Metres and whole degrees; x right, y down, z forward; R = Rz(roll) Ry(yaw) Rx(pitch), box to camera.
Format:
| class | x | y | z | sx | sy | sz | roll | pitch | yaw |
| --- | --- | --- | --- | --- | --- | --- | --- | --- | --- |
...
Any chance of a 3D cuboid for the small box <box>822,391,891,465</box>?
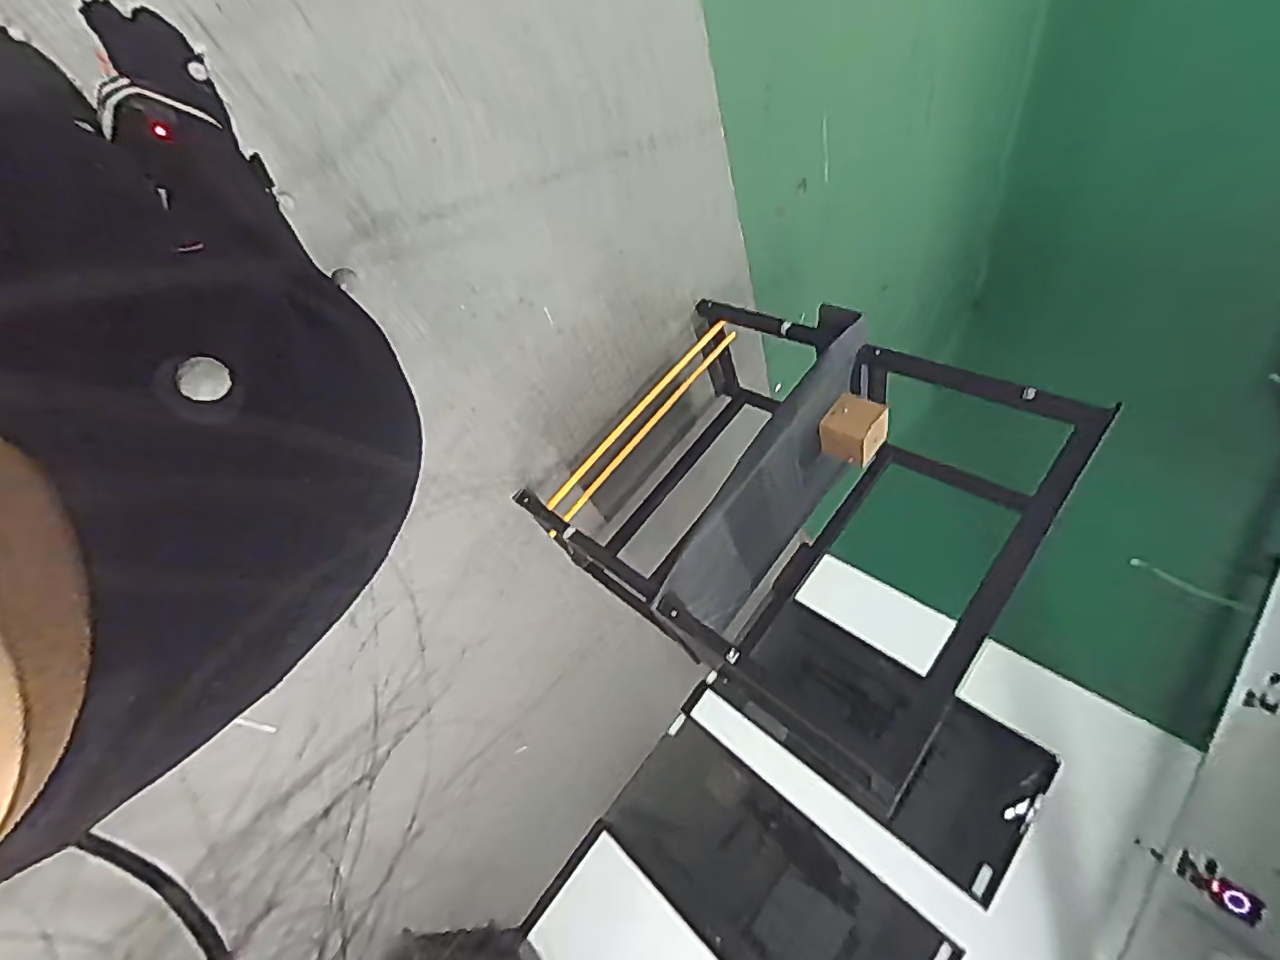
| class | x | y | z | sx | sy | sz | roll | pitch | yaw |
| --- | --- | --- | --- | --- | --- | --- | --- | --- | --- |
| small box | 0.769 | -0.191 | 1.929 | 0.168 | 0.176 | 0.179 | -49 | 143 | -15 |
